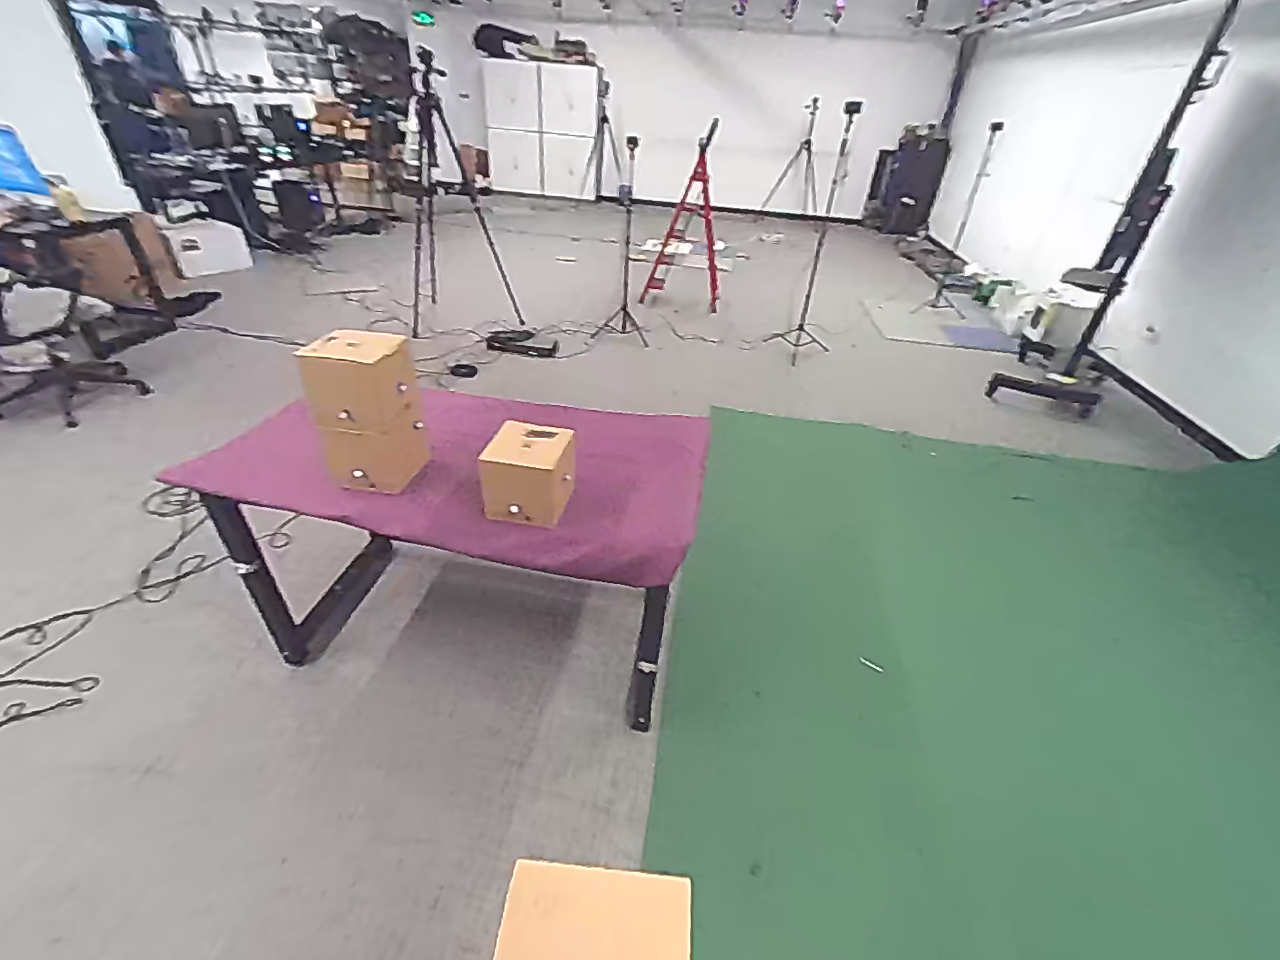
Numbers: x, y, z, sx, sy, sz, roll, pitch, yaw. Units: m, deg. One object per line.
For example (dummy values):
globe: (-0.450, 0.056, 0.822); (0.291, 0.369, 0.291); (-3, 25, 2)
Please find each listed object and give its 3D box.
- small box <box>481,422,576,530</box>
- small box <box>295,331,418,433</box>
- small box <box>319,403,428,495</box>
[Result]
small box: (-0.251, -0.011, 1.250); (0.168, 0.176, 0.179); (8, 35, 6)
small box: (-0.625, -0.221, 1.222); (0.179, 0.176, 0.168); (8, 33, 4)
small box: (-0.633, -0.086, 1.315); (0.168, 0.176, 0.179); (7, 34, 5)
